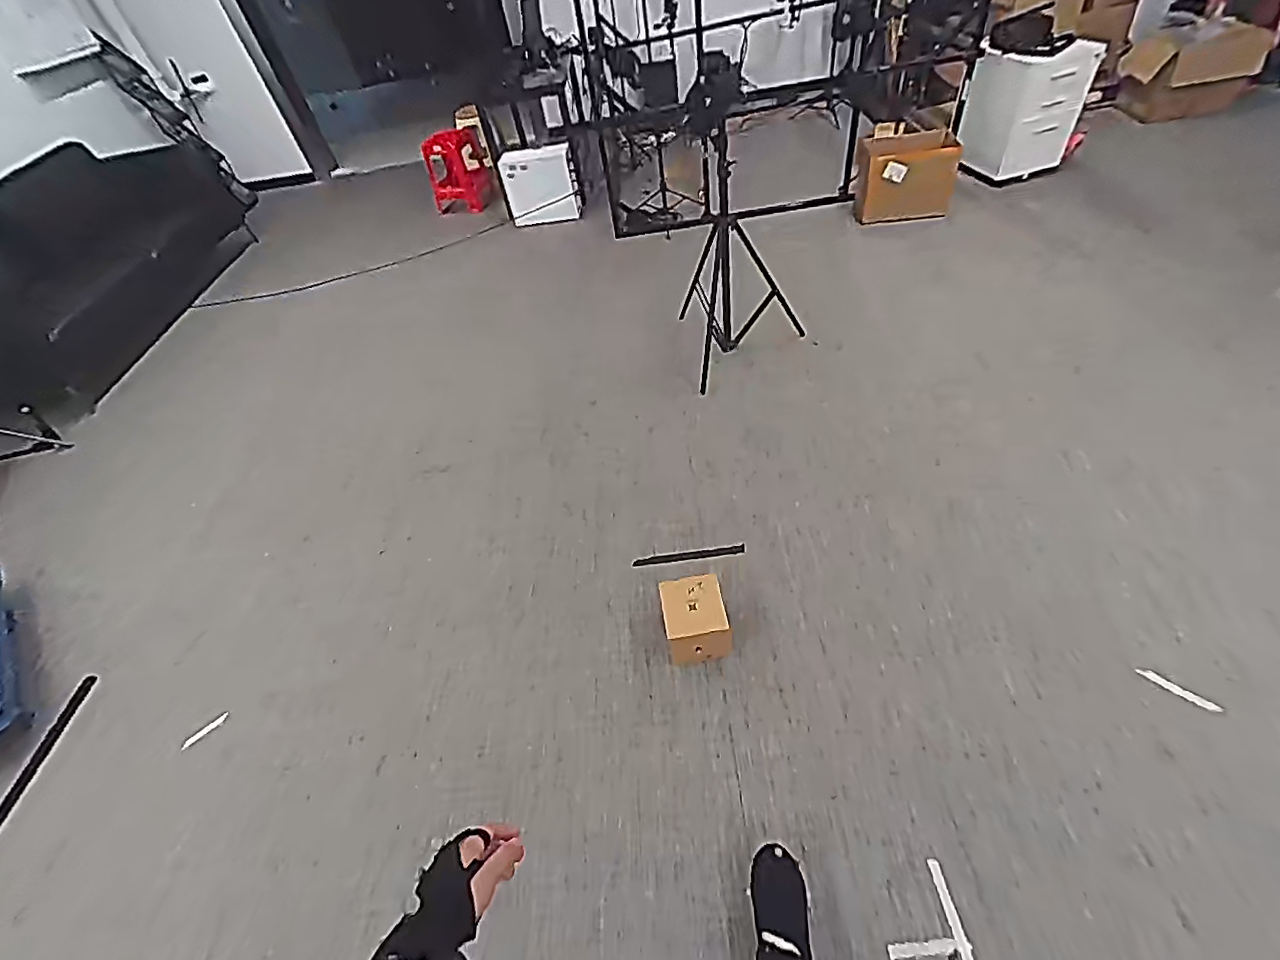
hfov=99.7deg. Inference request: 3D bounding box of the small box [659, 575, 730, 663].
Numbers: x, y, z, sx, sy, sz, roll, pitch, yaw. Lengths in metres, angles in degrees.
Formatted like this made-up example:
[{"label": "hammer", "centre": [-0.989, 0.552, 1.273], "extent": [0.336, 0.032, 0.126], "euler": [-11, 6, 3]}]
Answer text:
[{"label": "small box", "centre": [0.154, 0.395, 1.509], "extent": [0.168, 0.176, 0.179], "euler": [-10, 47, 2]}]
